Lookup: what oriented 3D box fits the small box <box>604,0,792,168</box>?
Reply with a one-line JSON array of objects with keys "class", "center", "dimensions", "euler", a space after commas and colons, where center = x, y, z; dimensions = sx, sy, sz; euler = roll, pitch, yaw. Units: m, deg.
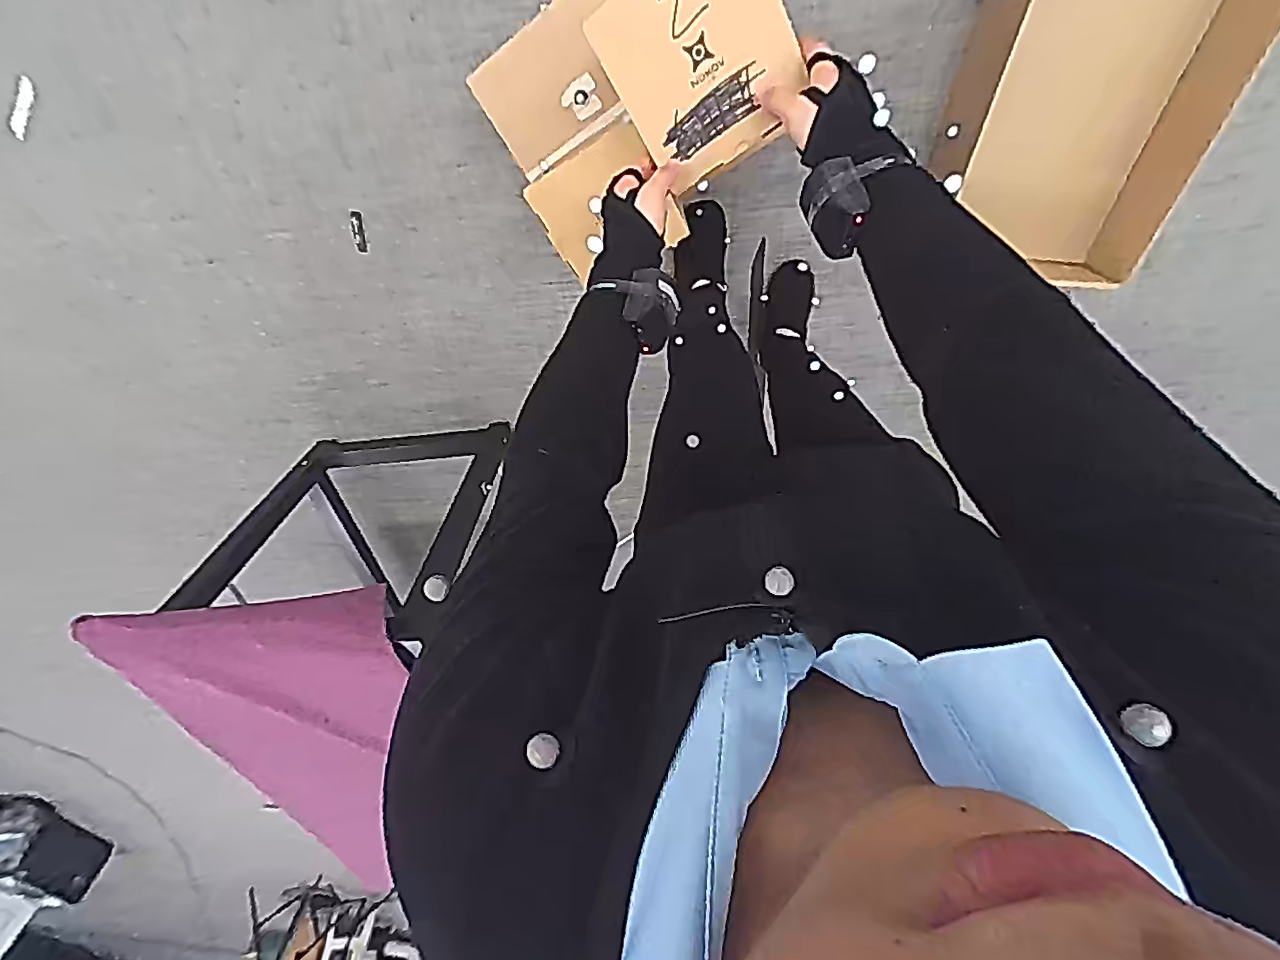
[{"class": "small box", "center": [0.074, -0.545, 0.701], "dimensions": [0.168, 0.176, 0.179], "euler": [-26, 122, 22]}]

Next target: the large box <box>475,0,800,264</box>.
[{"class": "large box", "center": [0.004, -0.656, 0.928], "dimensions": [0.408, 0.320, 0.320], "euler": [-26, 121, 21]}]
